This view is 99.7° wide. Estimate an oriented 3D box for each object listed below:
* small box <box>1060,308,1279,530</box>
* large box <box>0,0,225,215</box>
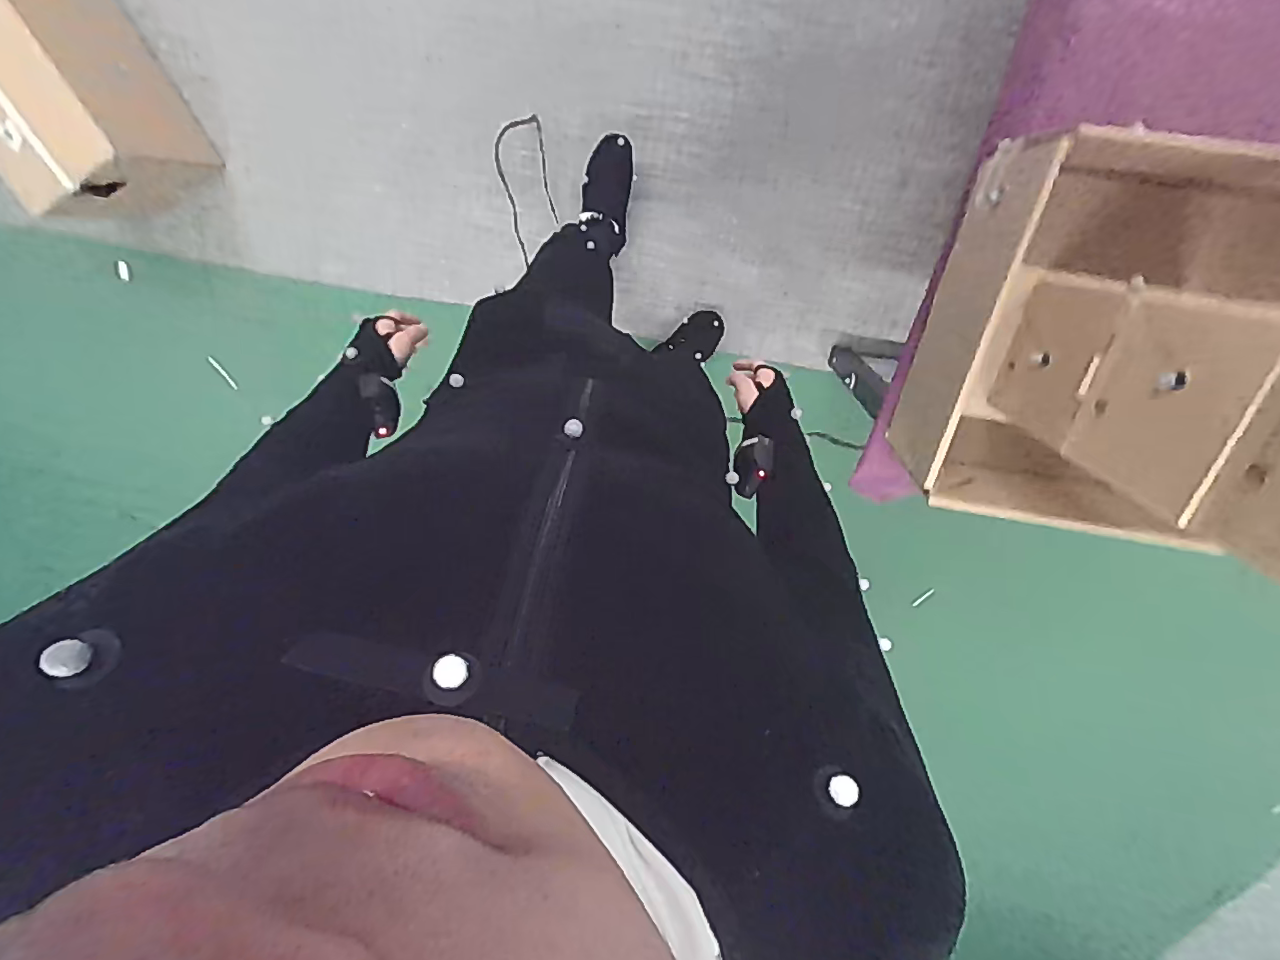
[{"bbox_3d":[0.536,-0.053,0.483,0.179,0.176,0.168,9,115,1],"label":"small box"},{"bbox_3d":[-1.348,-0.906,1.297,0.320,0.320,0.408,-20,113,17],"label":"large box"}]
